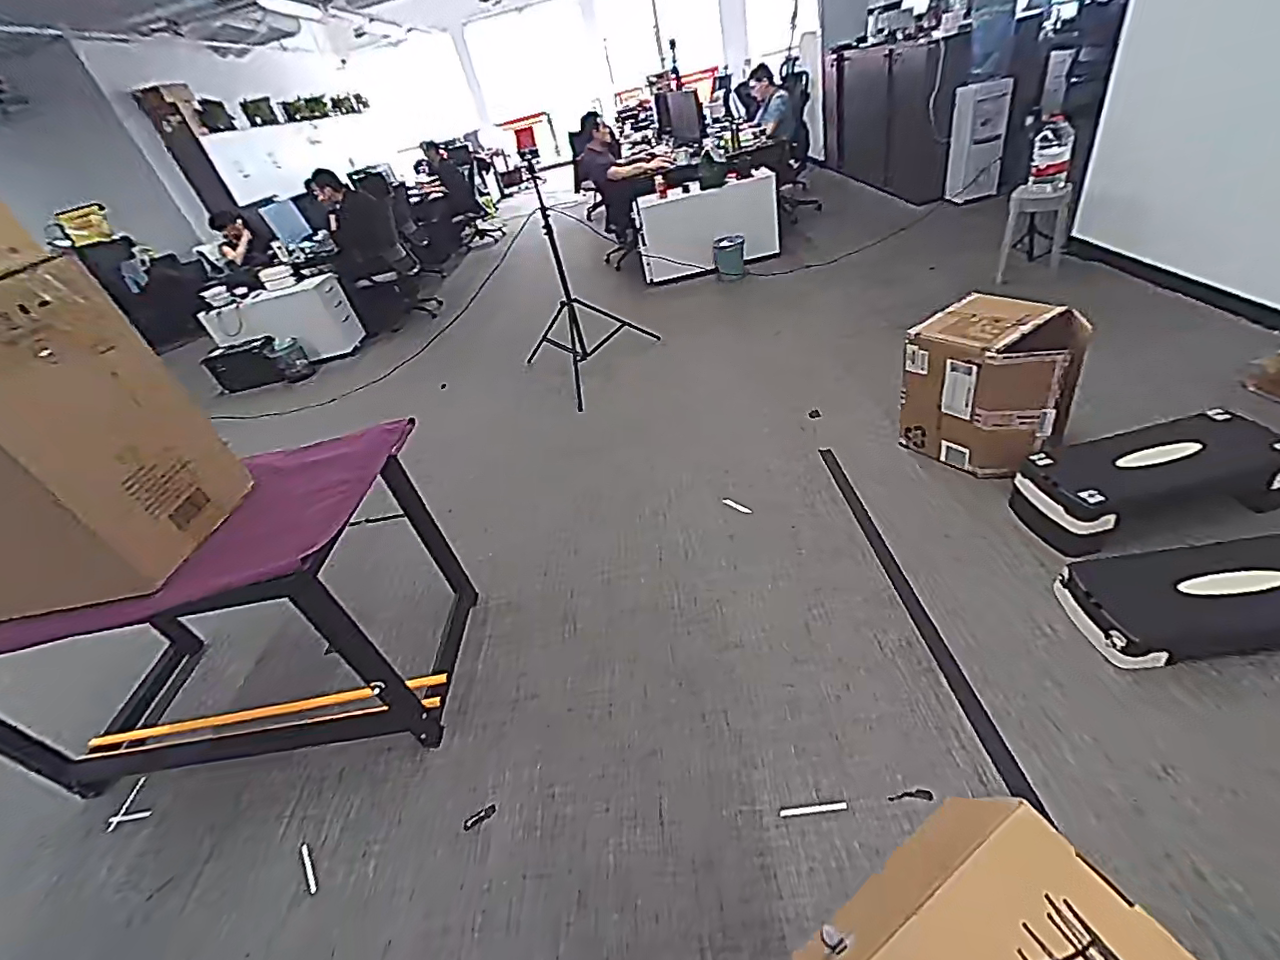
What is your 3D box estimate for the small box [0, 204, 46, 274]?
[{"bbox_3d":[-1.311,-0.458,1.014,0.179,0.176,0.168,-15,36,3],"label":"small box"}]
